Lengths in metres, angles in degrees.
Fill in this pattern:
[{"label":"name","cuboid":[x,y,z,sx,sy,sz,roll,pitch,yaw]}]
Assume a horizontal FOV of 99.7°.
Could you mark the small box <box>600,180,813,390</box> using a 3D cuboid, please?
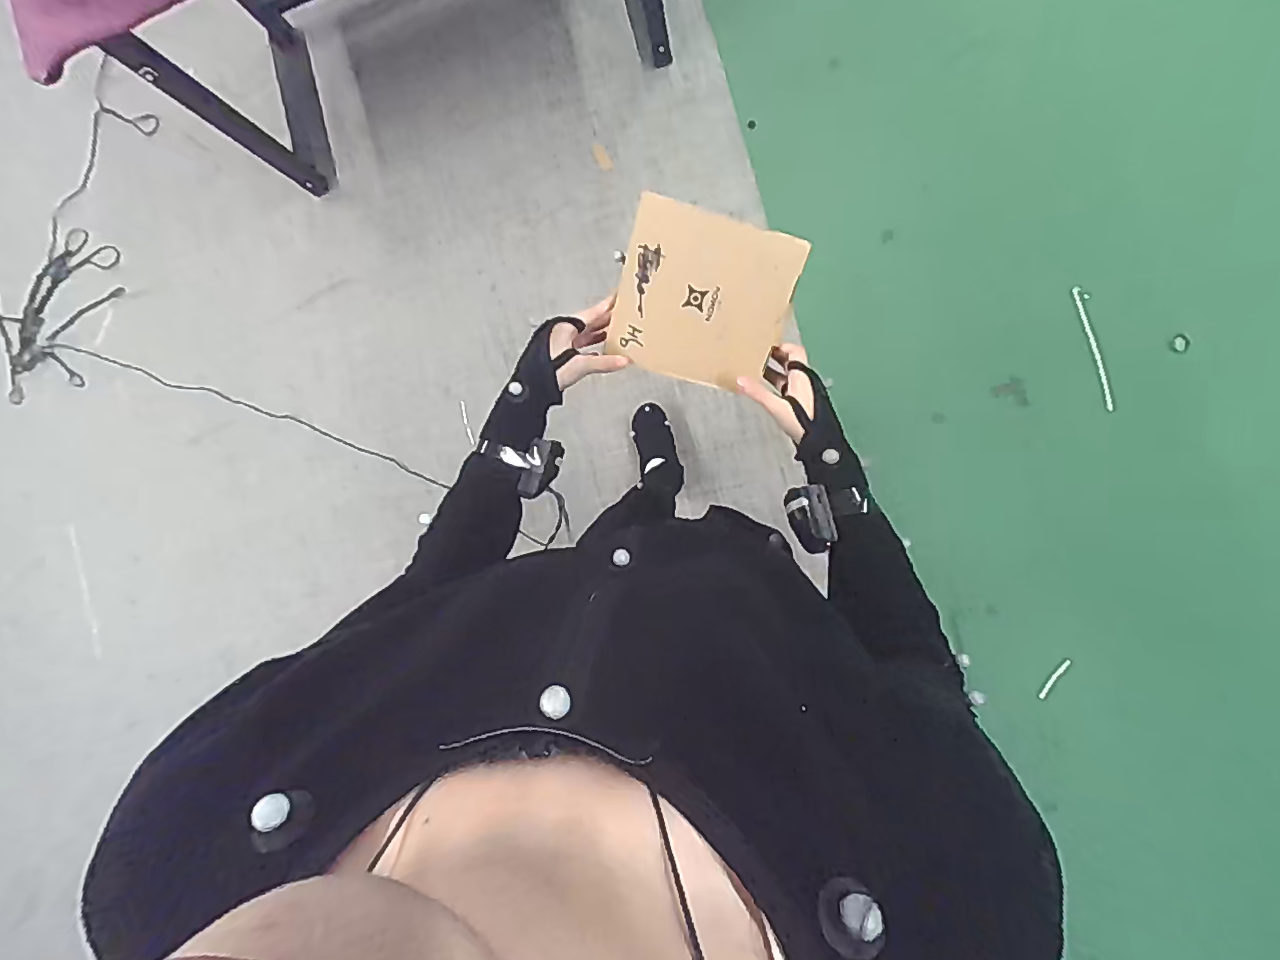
[{"label":"small box","cuboid":[0.063,-0.221,0.612,0.179,0.176,0.168,14,114,-6]}]
